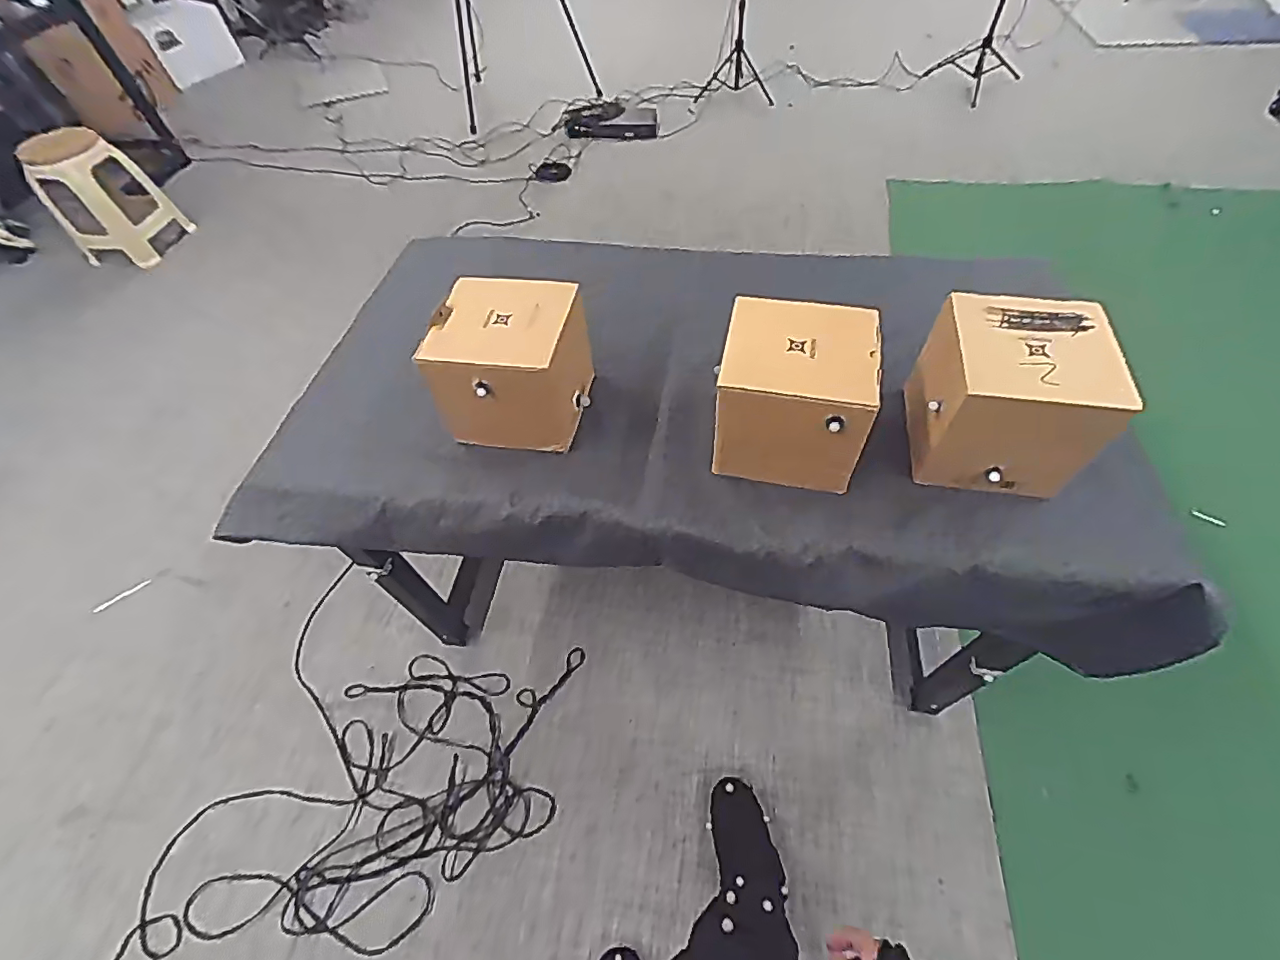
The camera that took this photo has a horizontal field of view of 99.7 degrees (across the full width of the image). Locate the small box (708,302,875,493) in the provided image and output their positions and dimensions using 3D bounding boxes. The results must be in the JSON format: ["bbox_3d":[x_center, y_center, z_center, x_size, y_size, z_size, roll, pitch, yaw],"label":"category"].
[{"bbox_3d":[0.186,-0.101,0.691,0.179,0.176,0.168,10,55,10],"label":"small box"}]

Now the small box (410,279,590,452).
[{"bbox_3d":[-0.179,-0.155,0.752,0.179,0.176,0.168,7,56,7],"label":"small box"}]
